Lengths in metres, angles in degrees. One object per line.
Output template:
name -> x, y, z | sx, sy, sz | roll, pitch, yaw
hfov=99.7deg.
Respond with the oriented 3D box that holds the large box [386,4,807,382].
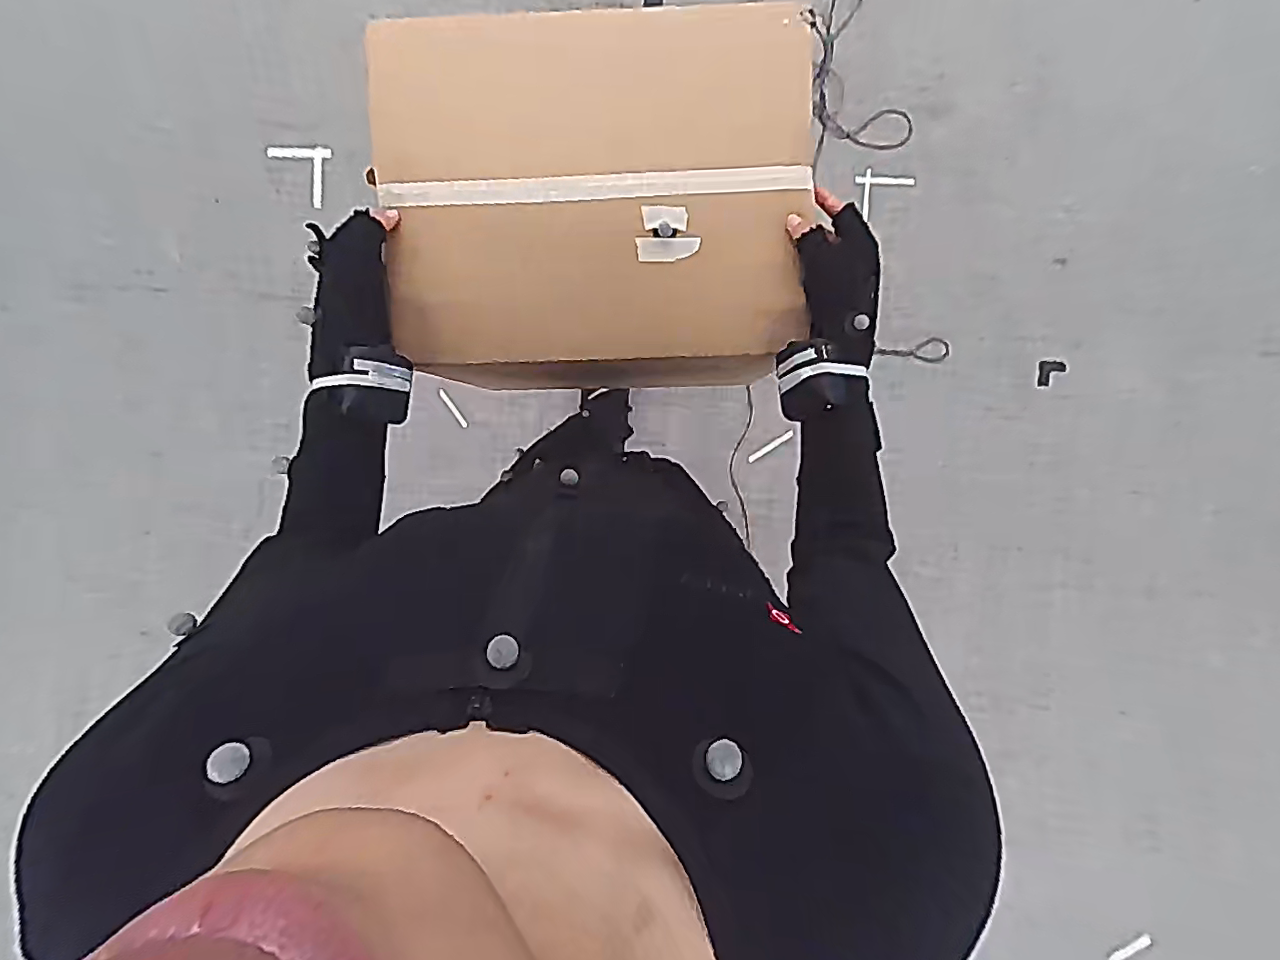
large box -> -0.039, -0.300, 0.672 | 0.408, 0.320, 0.320 | -2, 96, 1
